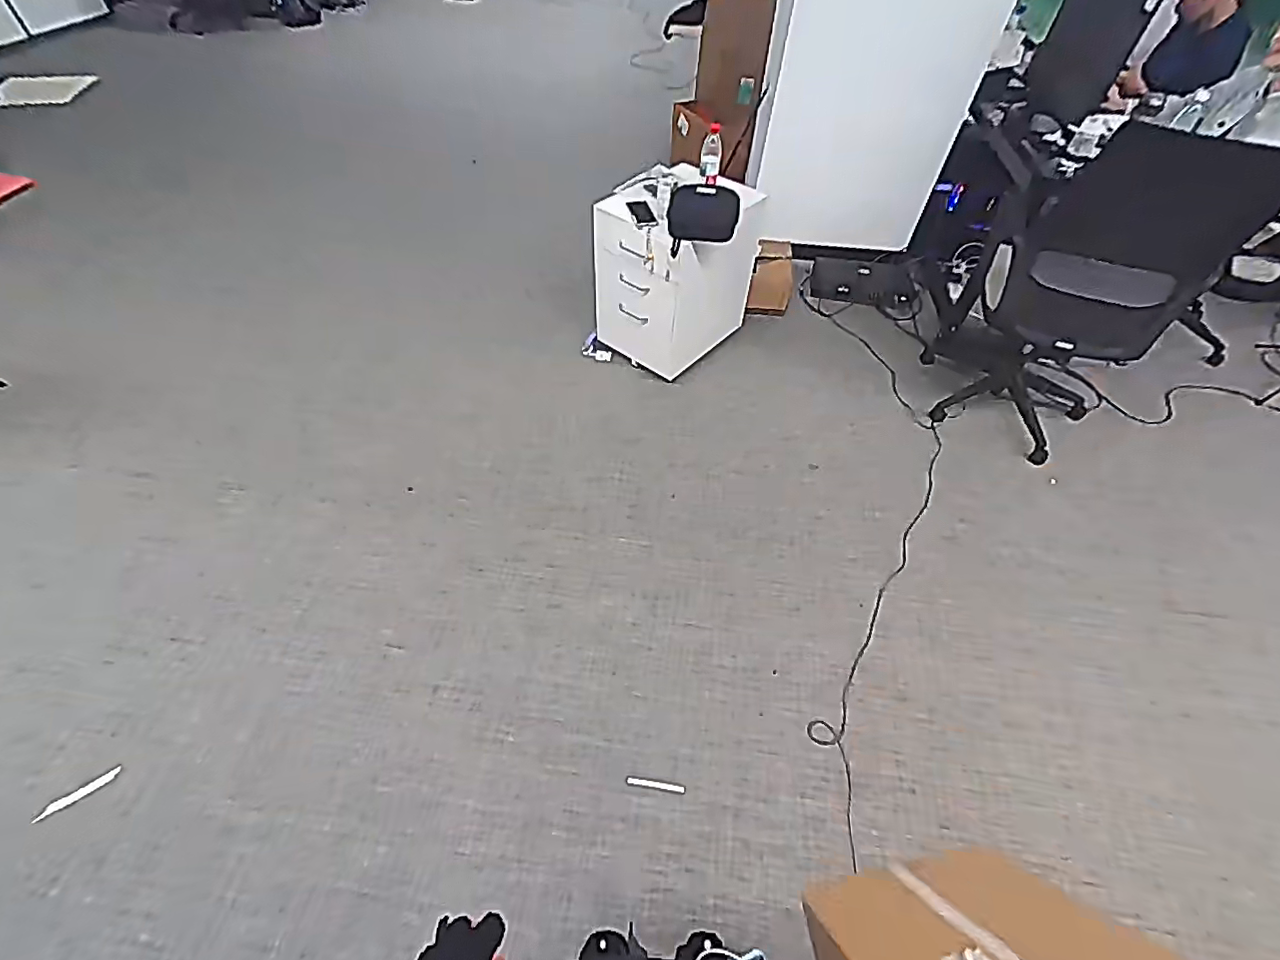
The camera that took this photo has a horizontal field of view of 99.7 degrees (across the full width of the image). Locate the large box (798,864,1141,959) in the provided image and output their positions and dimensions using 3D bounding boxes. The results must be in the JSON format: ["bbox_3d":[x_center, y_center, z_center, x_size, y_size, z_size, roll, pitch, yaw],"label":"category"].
[{"bbox_3d":[0.429,0.723,0.626,0.320,0.408,0.320,-9,74,-6],"label":"large box"}]
